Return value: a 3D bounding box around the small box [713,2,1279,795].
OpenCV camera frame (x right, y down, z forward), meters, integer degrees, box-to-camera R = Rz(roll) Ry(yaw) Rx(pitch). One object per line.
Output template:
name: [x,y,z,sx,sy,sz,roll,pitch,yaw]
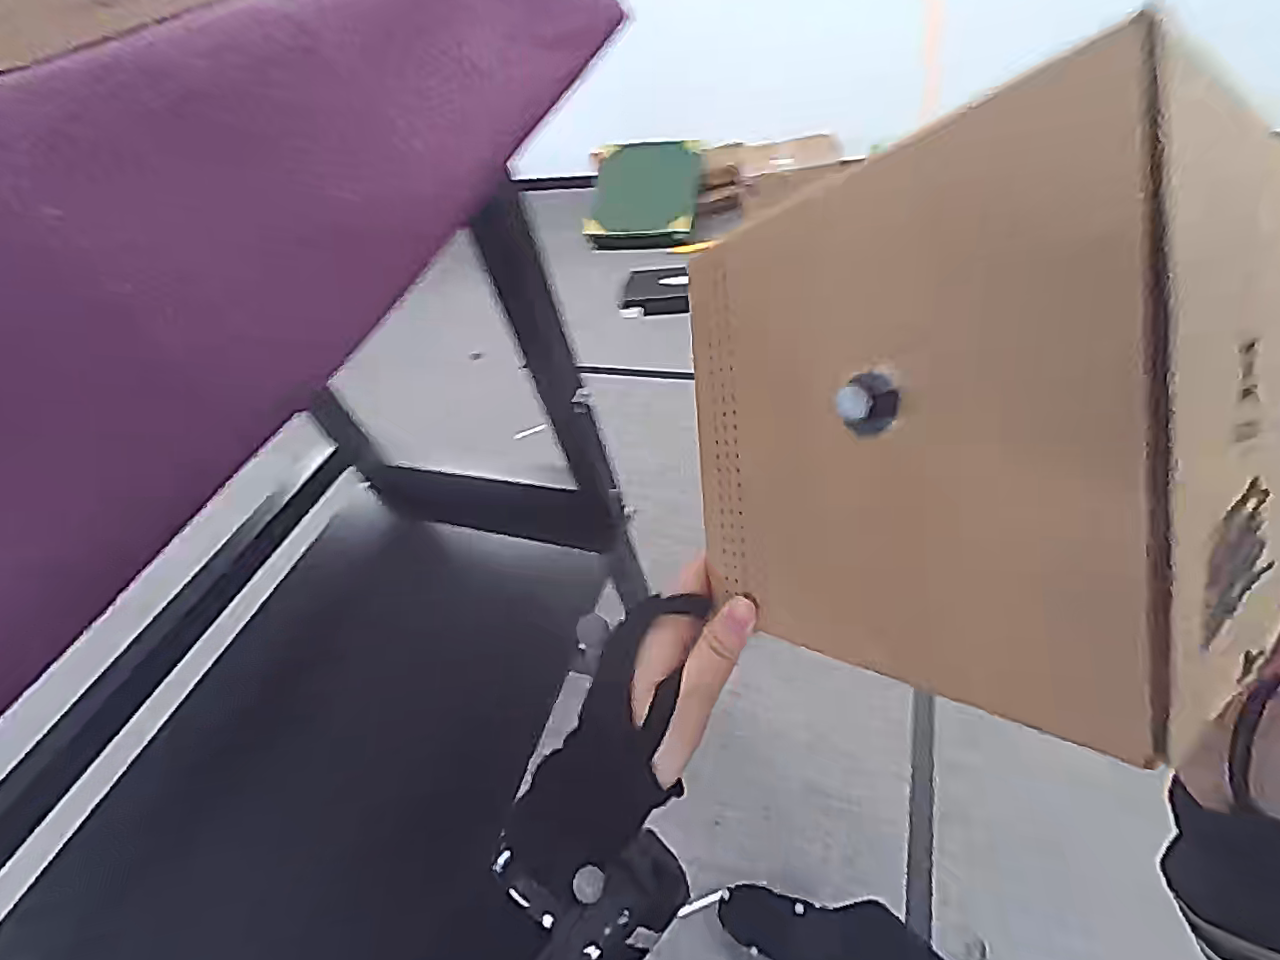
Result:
small box: [0.146,-0.020,0.225,0.168,0.179,0.176,-5,2,-31]
